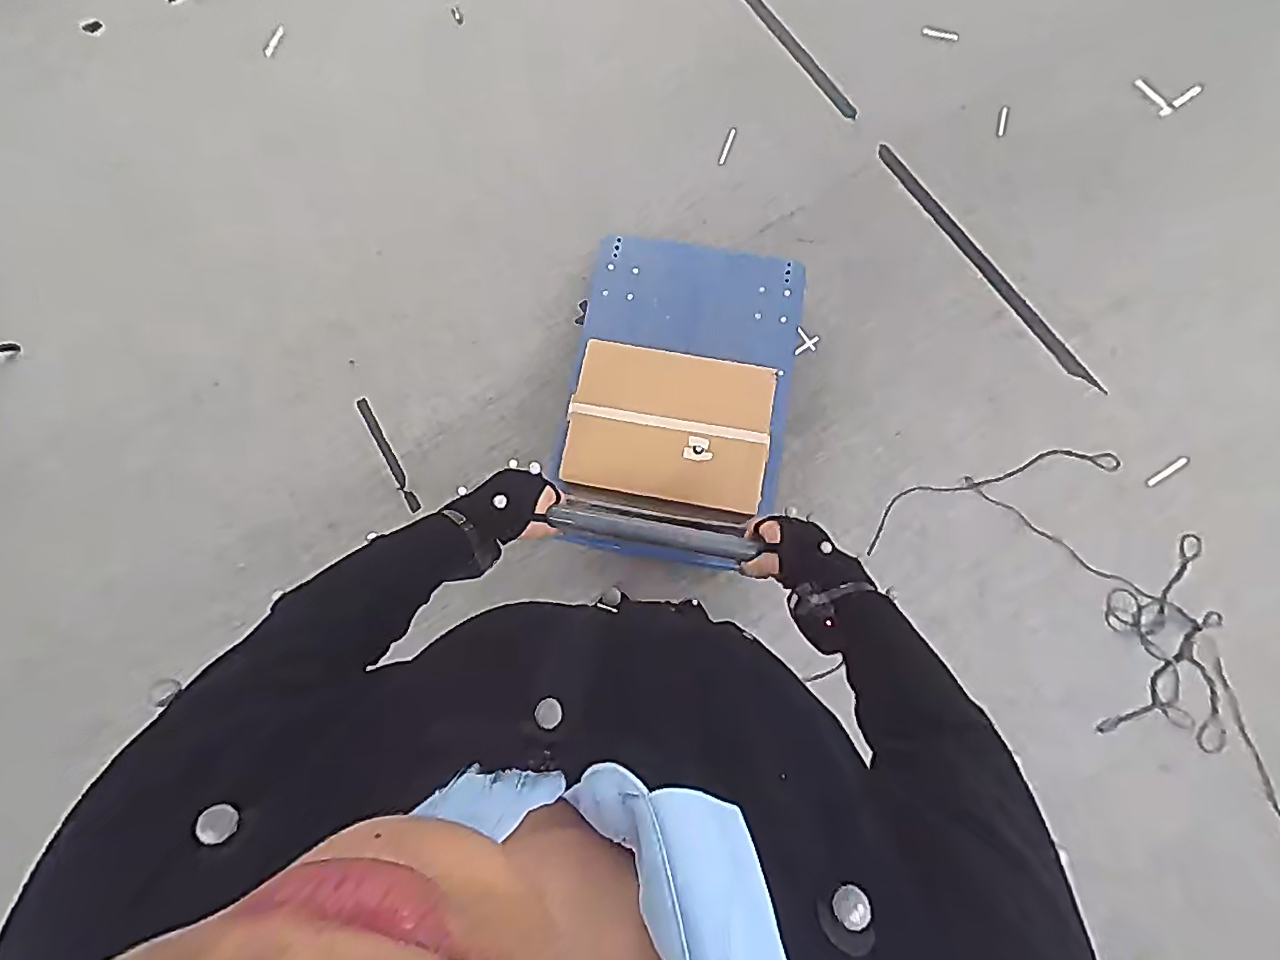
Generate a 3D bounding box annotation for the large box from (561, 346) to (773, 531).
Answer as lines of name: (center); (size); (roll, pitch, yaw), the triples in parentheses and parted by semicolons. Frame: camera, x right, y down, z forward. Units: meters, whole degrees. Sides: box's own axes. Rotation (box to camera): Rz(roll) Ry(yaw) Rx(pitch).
large box: (0.059, -0.078, 1.253); (0.408, 0.320, 0.320); (10, 80, 2)
